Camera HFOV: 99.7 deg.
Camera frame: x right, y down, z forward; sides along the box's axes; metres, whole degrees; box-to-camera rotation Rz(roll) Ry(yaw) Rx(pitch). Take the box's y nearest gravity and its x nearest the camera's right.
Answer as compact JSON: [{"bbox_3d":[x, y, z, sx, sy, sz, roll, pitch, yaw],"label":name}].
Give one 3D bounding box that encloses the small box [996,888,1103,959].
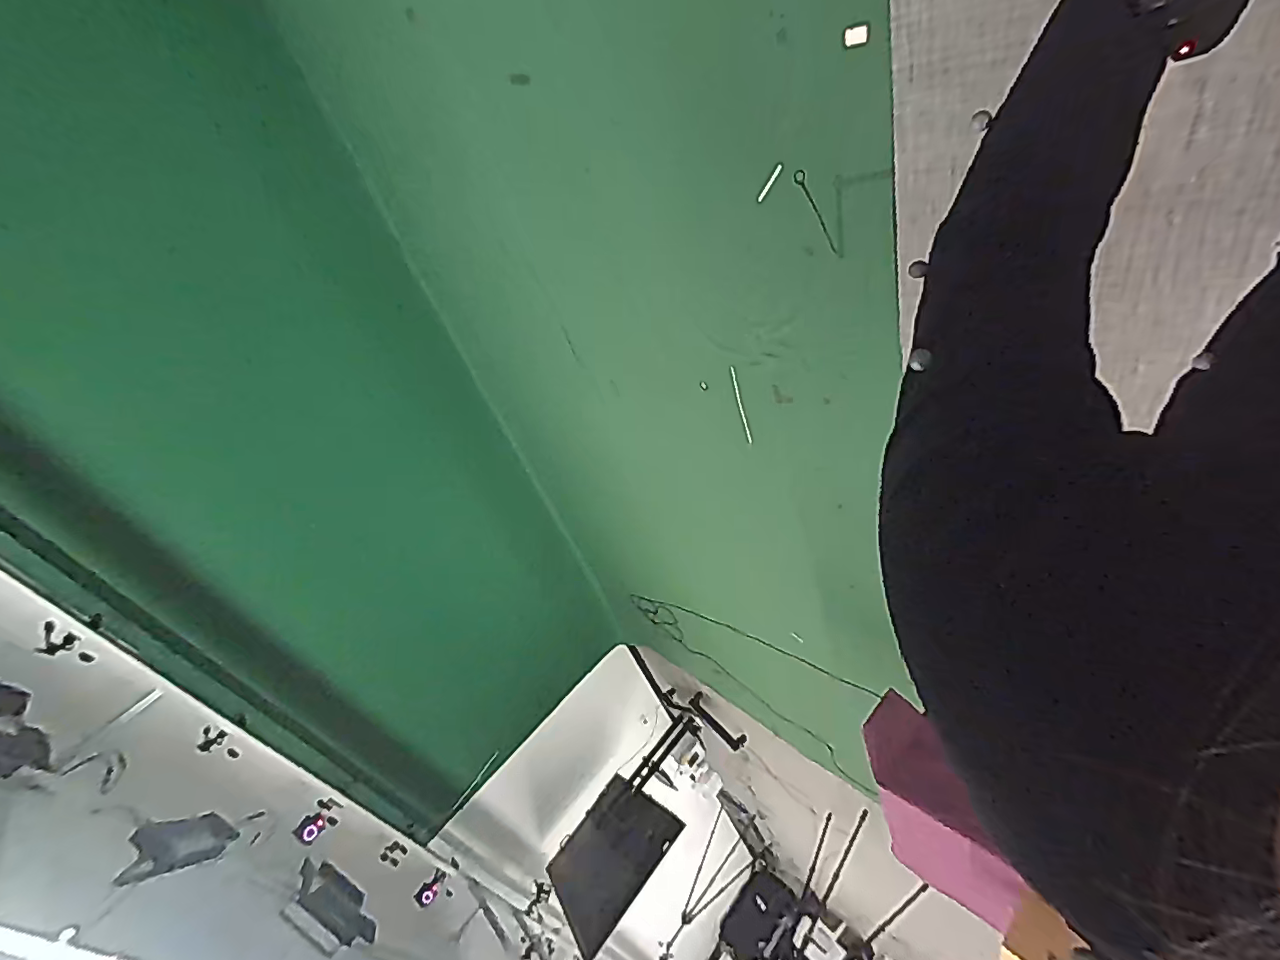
[{"bbox_3d":[1.032,1.190,1.364,0.179,0.176,0.168,20,143,46],"label":"small box"}]
